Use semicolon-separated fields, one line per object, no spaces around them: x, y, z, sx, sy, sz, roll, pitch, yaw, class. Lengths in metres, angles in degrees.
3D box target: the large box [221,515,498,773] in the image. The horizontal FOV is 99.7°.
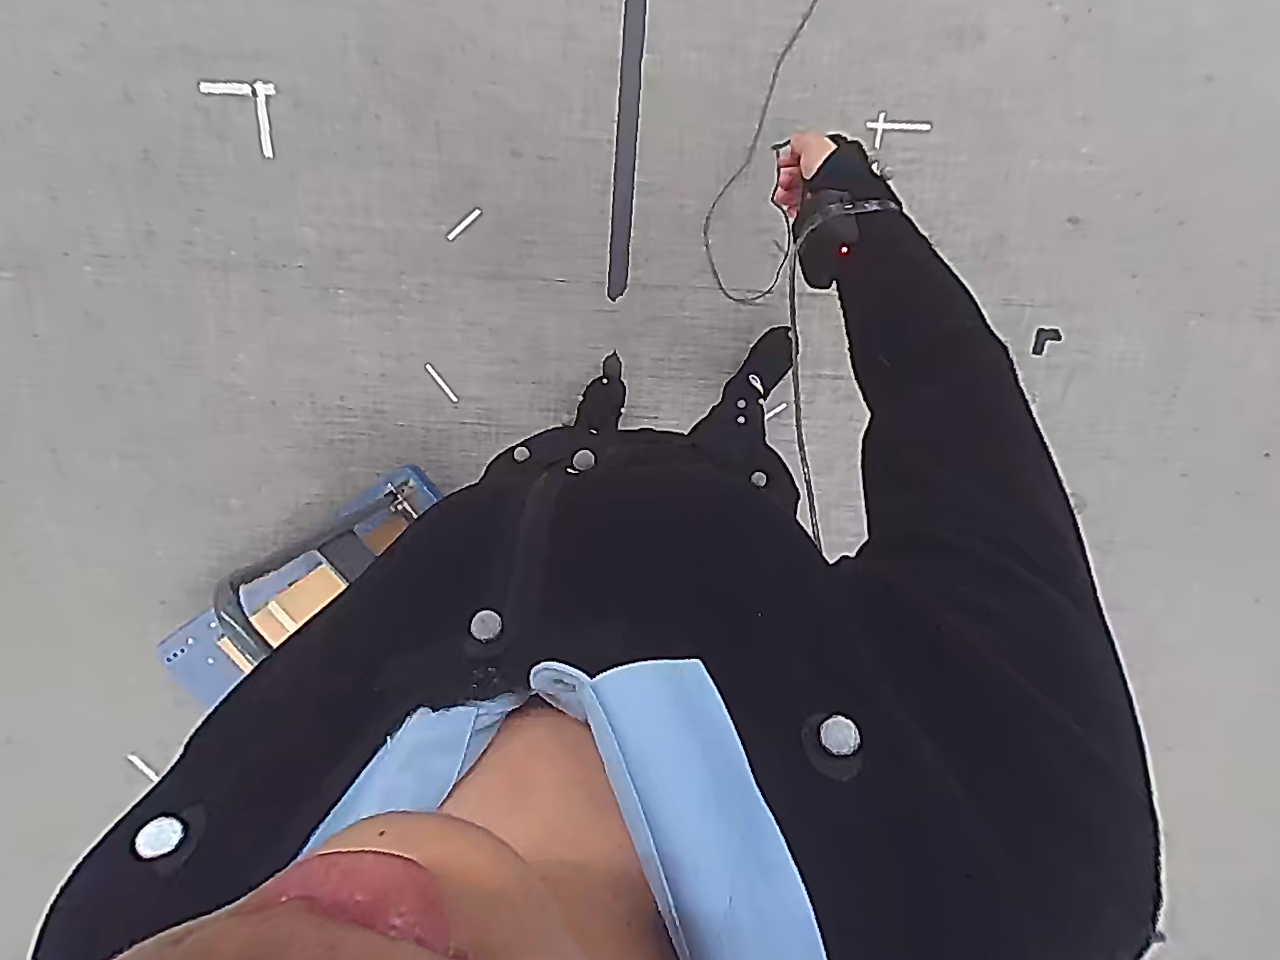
-0.599;0.355;1.239;0.320;0.320;0.408;-34;100;6;large box
